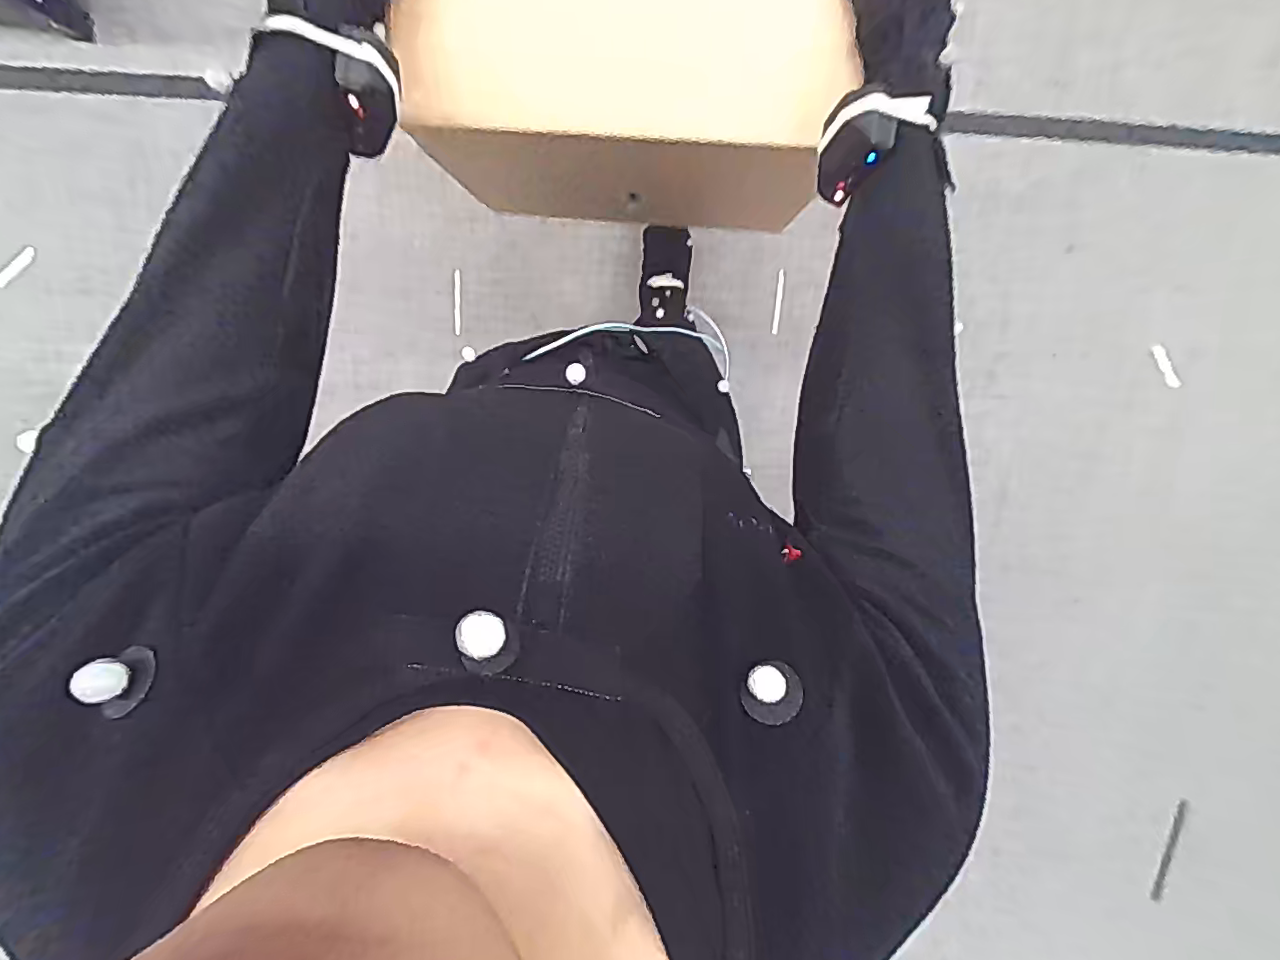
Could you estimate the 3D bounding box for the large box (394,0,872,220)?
[{"bbox_3d":[0.003,-0.486,0.580,0.408,0.320,0.320,4,101,1],"label":"large box"}]
